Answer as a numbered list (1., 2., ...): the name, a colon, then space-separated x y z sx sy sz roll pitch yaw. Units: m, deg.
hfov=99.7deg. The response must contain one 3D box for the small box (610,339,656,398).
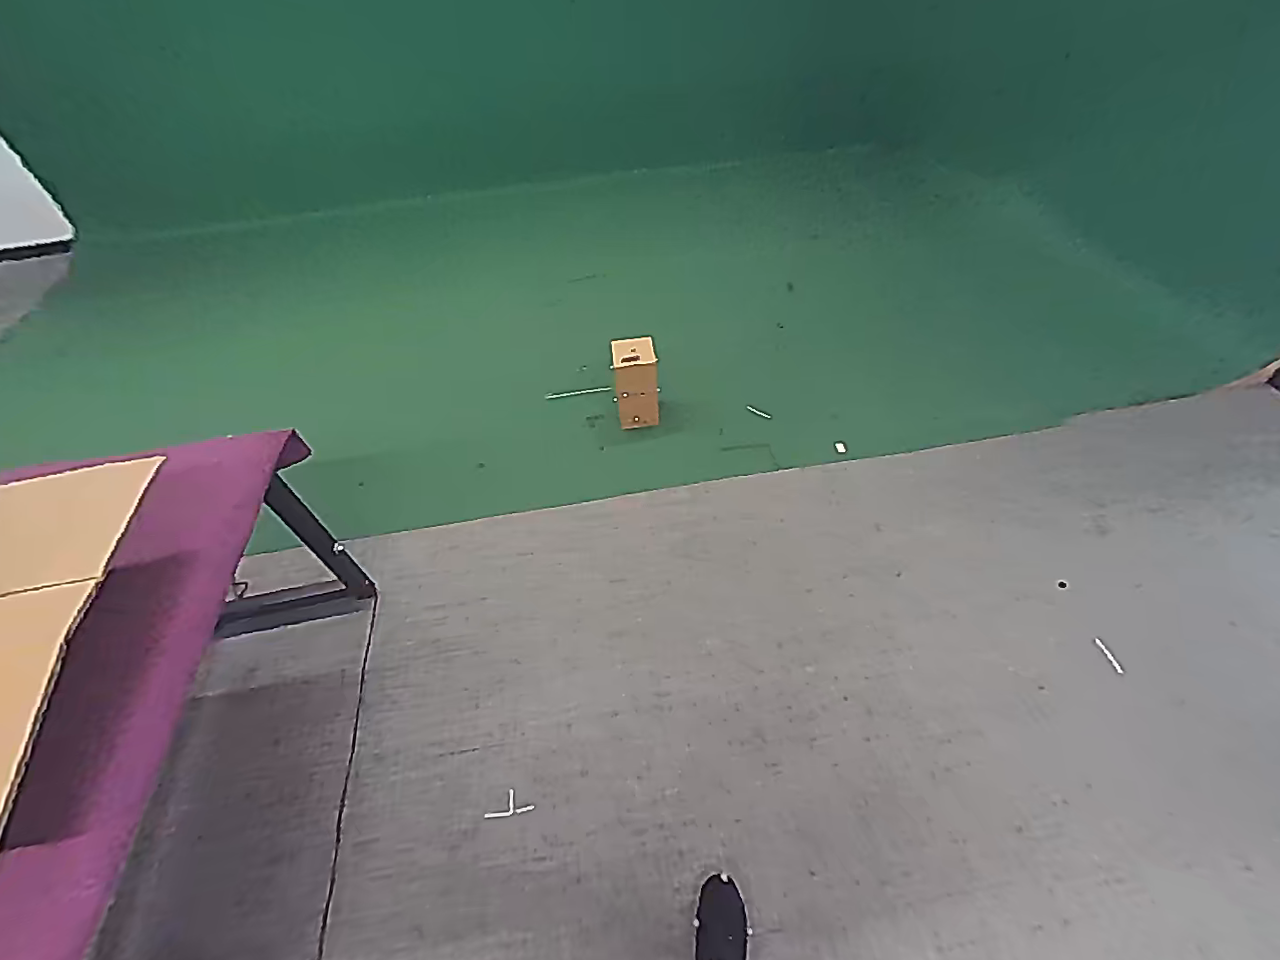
1. small box: -0.028 -0.446 2.192 0.168 0.176 0.179 -6 49 -2

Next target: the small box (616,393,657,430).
1. small box: -0.018 -0.339 2.317 0.168 0.176 0.179 -8 50 -2
